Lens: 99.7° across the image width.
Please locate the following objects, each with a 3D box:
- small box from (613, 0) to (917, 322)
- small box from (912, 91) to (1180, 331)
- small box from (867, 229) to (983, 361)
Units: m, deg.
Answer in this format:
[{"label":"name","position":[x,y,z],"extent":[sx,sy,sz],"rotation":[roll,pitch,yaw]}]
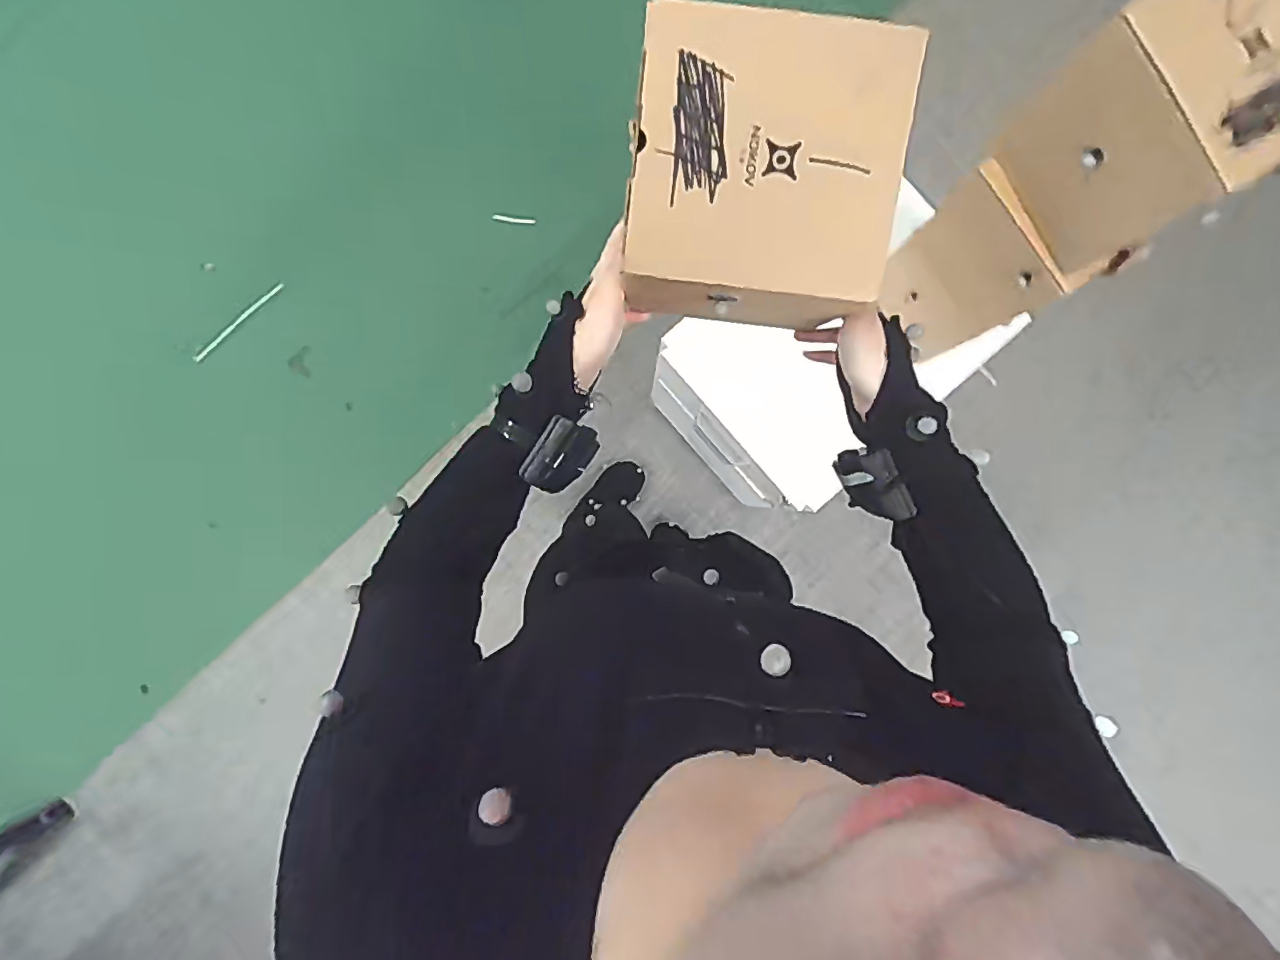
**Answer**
[{"label":"small box","position":[0.078,-0.225,0.426],"extent":[0.179,0.176,0.168],"rotation":[6,100,0]},{"label":"small box","position":[0.487,-0.320,0.682],"extent":[0.168,0.176,0.179],"rotation":[-34,89,-1]},{"label":"small box","position":[0.491,-0.314,0.845],"extent":[0.168,0.176,0.179],"rotation":[-34,88,-1]}]
